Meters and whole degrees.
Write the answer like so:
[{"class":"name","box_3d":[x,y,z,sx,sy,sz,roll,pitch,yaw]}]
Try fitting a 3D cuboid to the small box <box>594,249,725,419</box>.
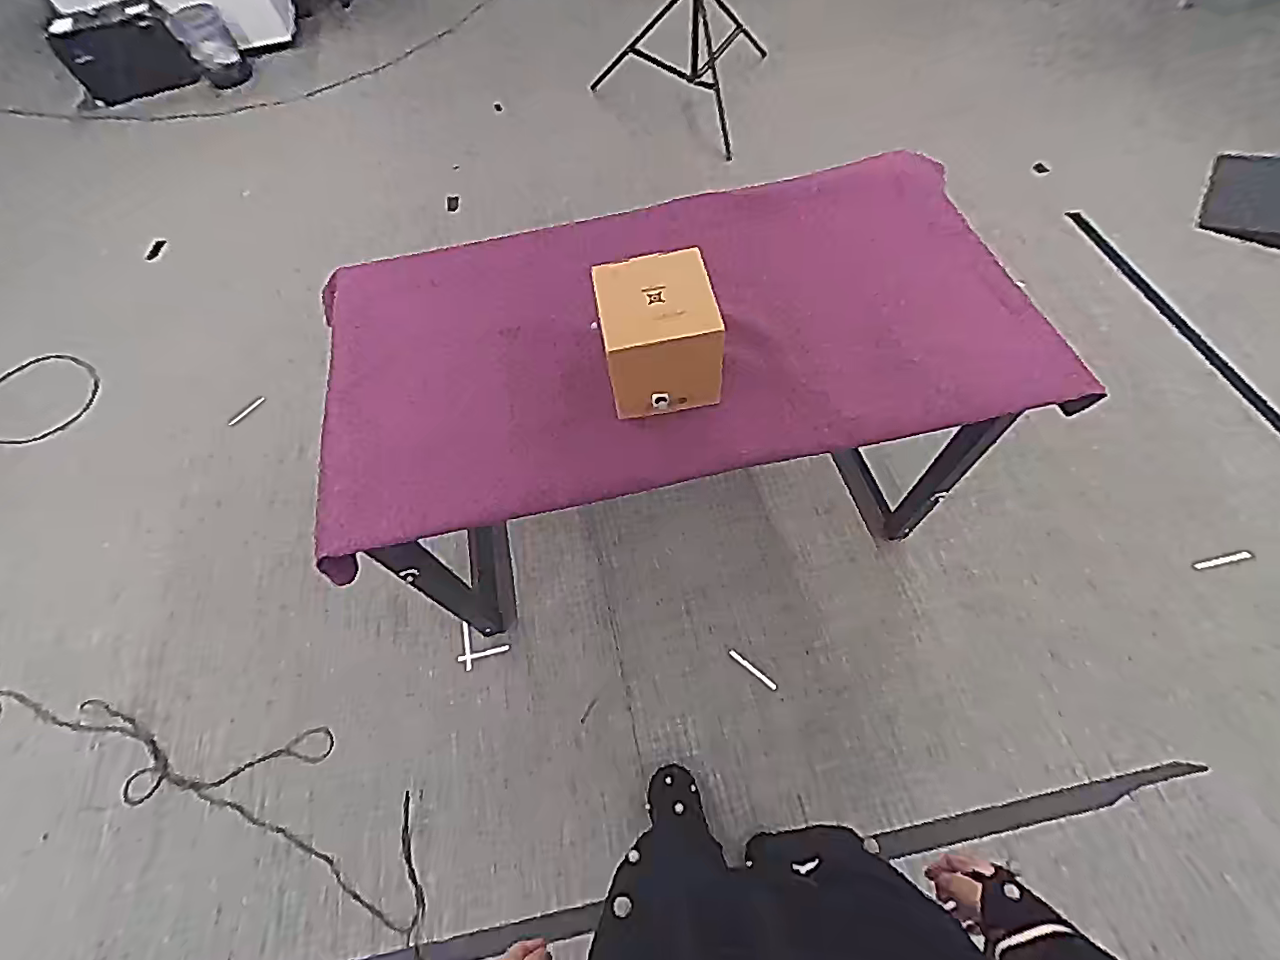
[{"class":"small box","box_3d":[0.028,-0.222,0.840,0.168,0.176,0.179,-11,61,-1]}]
